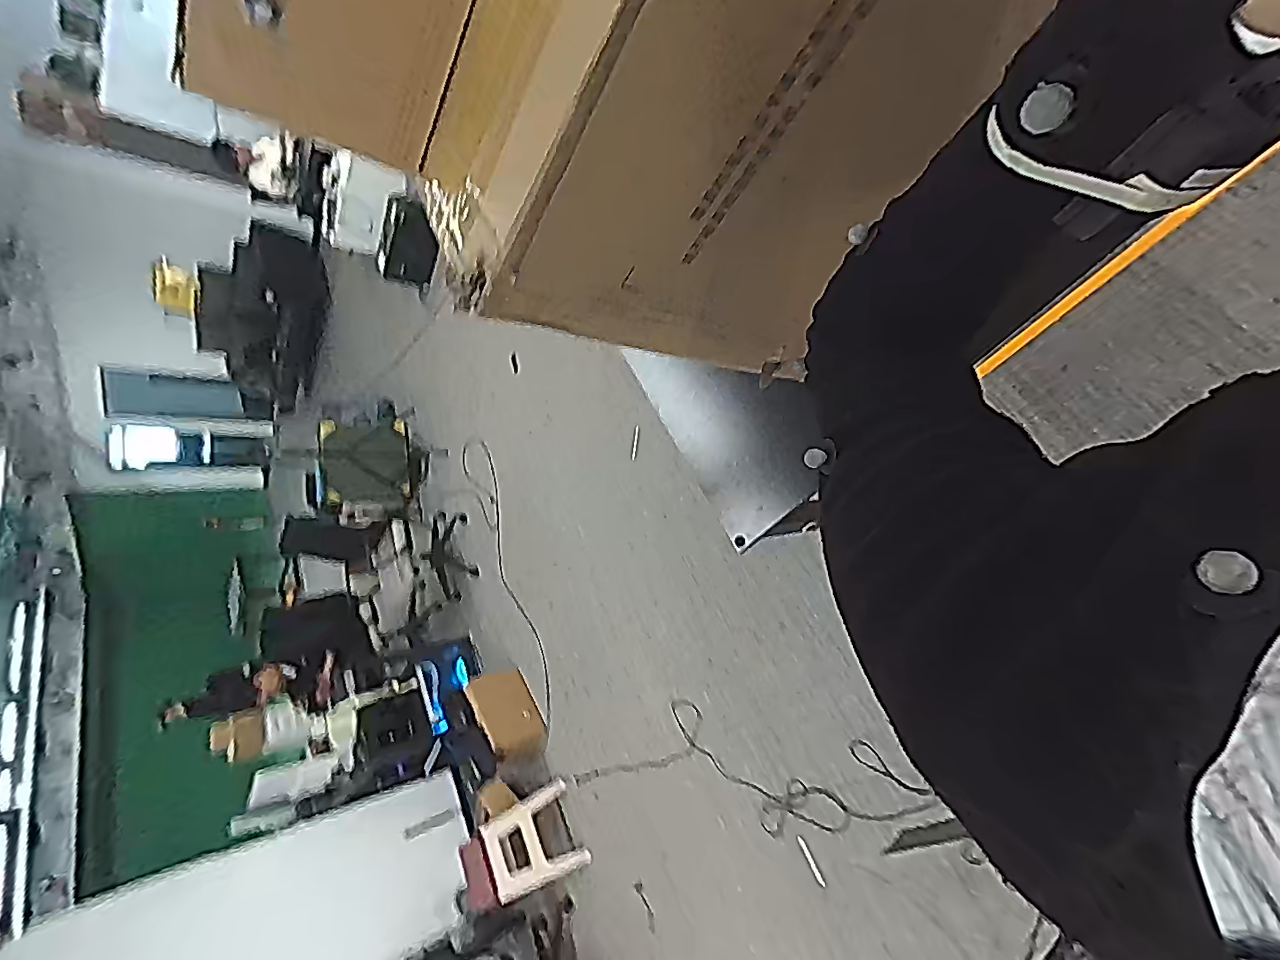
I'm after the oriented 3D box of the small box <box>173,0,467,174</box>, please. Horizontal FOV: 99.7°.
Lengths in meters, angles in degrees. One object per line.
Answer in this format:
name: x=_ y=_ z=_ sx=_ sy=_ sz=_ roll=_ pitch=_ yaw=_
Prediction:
small box: x=-0.252 y=-0.384 z=0.425 sx=0.179 sy=0.176 sz=0.168 roll=-48 pitch=56 yaw=36
